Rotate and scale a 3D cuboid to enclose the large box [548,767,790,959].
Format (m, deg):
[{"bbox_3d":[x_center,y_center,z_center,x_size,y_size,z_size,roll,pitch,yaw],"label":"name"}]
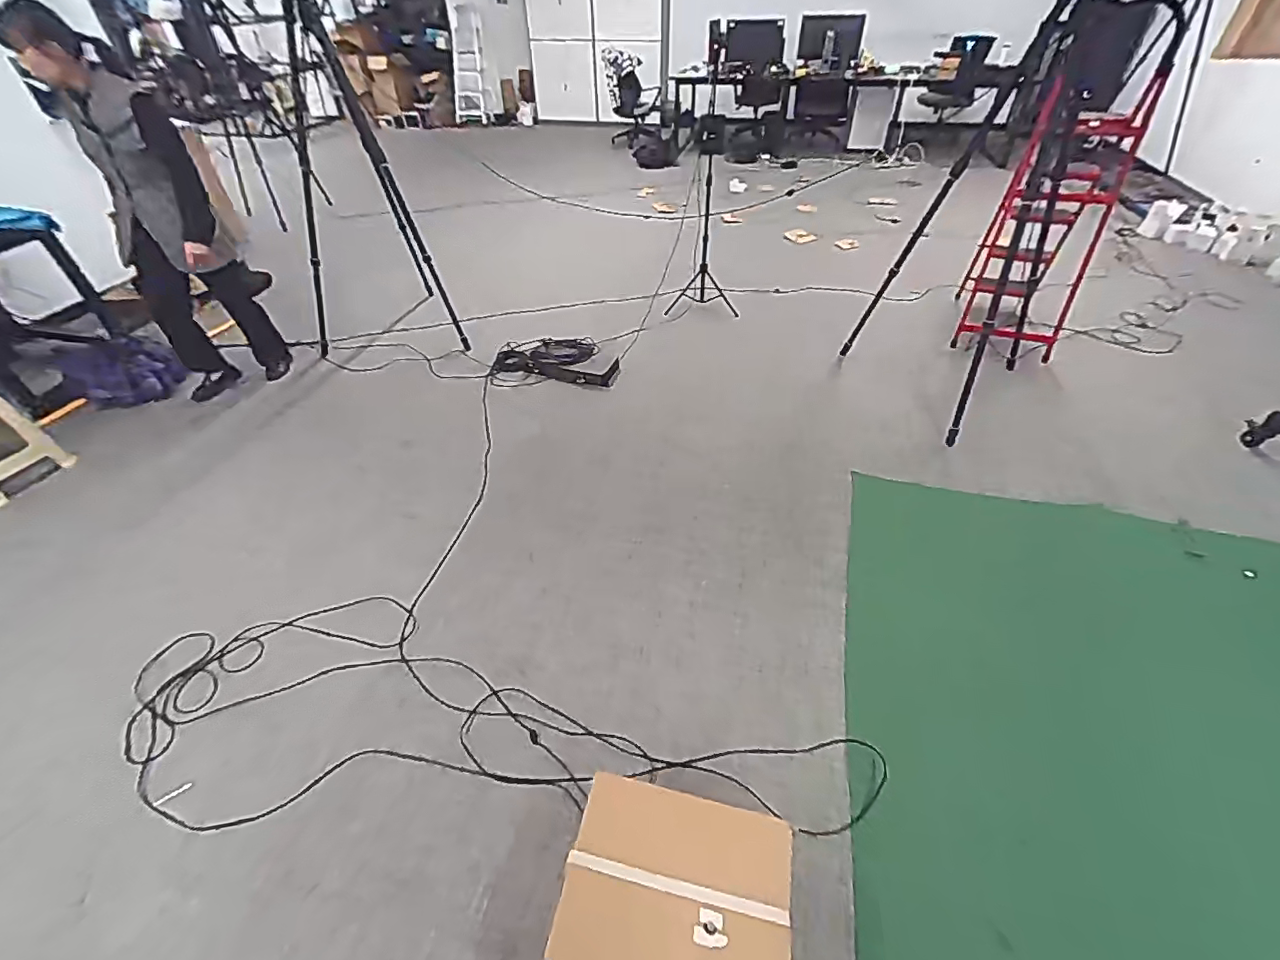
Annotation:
[{"bbox_3d":[0.063,0.836,1.086,0.408,0.320,0.320,10,44,9],"label":"large box"}]
